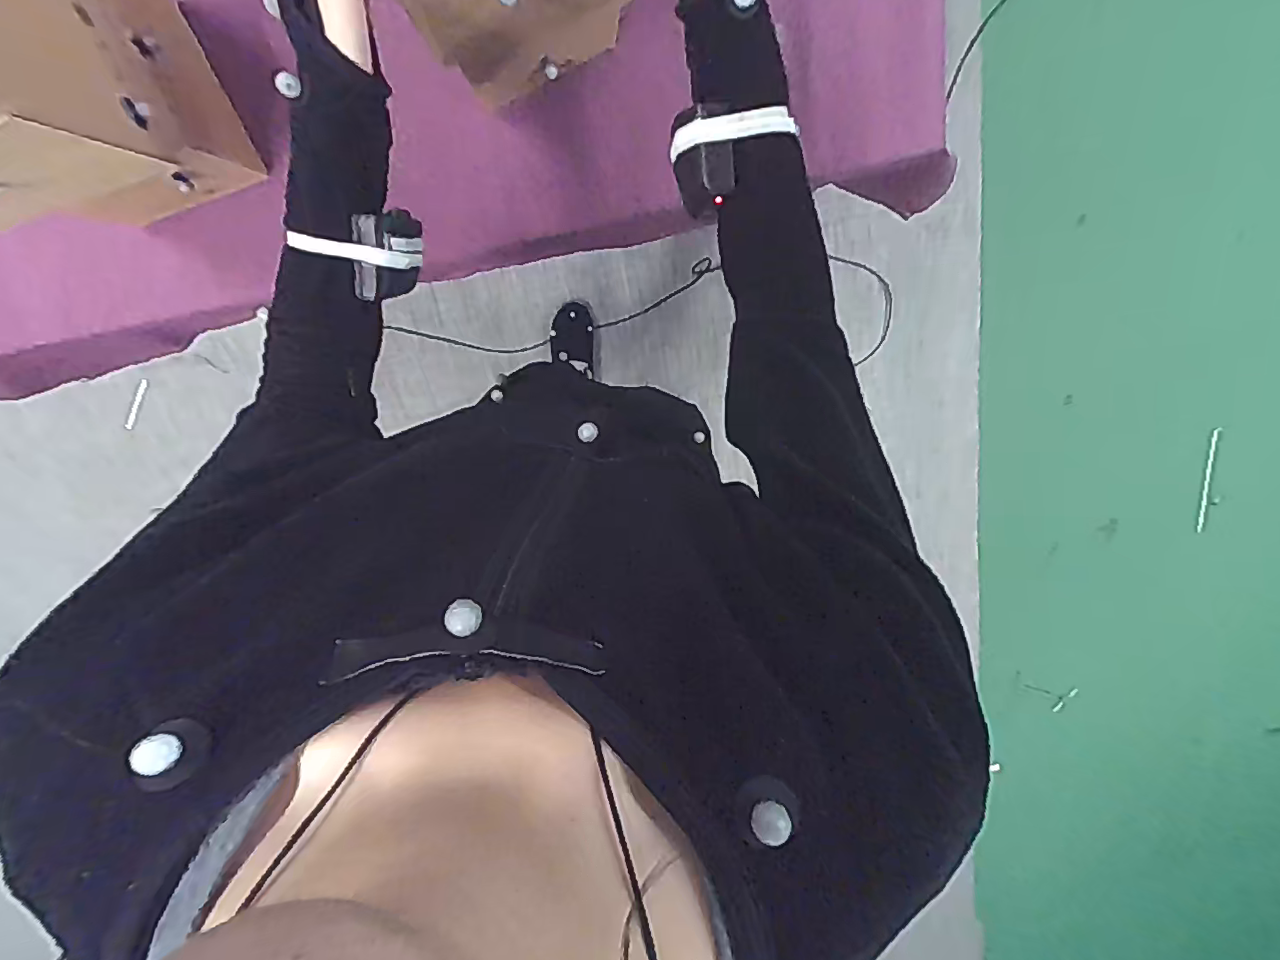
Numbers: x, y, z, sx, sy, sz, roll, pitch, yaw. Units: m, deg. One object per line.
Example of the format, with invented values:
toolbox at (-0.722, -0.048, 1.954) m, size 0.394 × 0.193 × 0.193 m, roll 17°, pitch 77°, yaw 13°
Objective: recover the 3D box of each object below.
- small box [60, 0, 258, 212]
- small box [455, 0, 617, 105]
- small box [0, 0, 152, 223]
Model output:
small box at (-0.515, -0.369, 0.508) m, size 0.168 × 0.176 × 0.179 m, roll -19°, pitch 110°, yaw 0°
small box at (-0.130, -0.497, 0.501) m, size 0.168 × 0.176 × 0.179 m, roll -24°, pitch 110°, yaw 4°
small box at (-0.495, -0.290, 0.364) m, size 0.179 × 0.176 × 0.168 m, roll -19°, pitch 111°, yaw 1°
